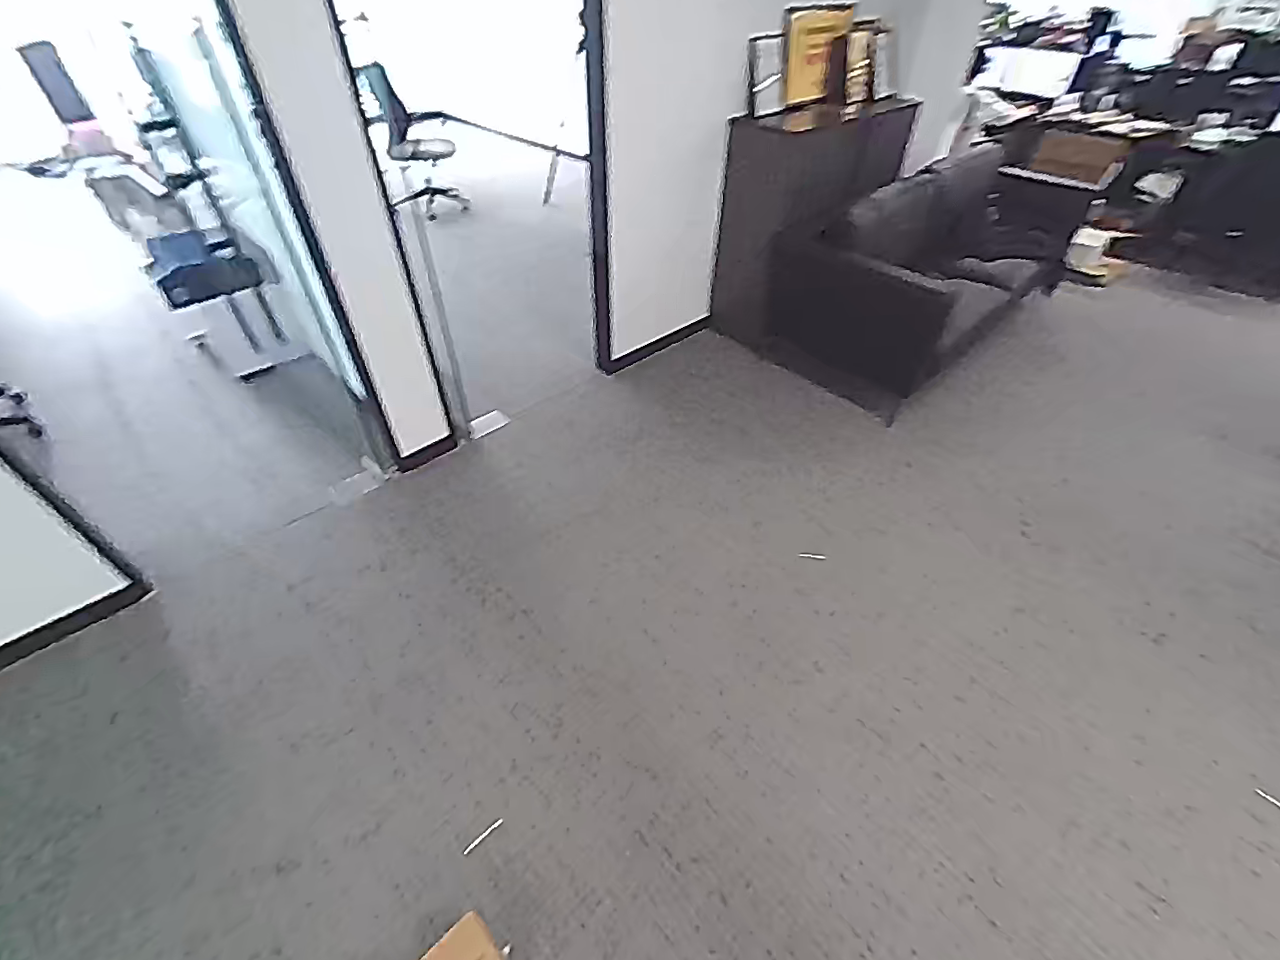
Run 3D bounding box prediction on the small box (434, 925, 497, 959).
[{"bbox_3d":[-0.366,1.074,1.104,0.179,0.176,0.168,-32,52,-32],"label":"small box"}]
